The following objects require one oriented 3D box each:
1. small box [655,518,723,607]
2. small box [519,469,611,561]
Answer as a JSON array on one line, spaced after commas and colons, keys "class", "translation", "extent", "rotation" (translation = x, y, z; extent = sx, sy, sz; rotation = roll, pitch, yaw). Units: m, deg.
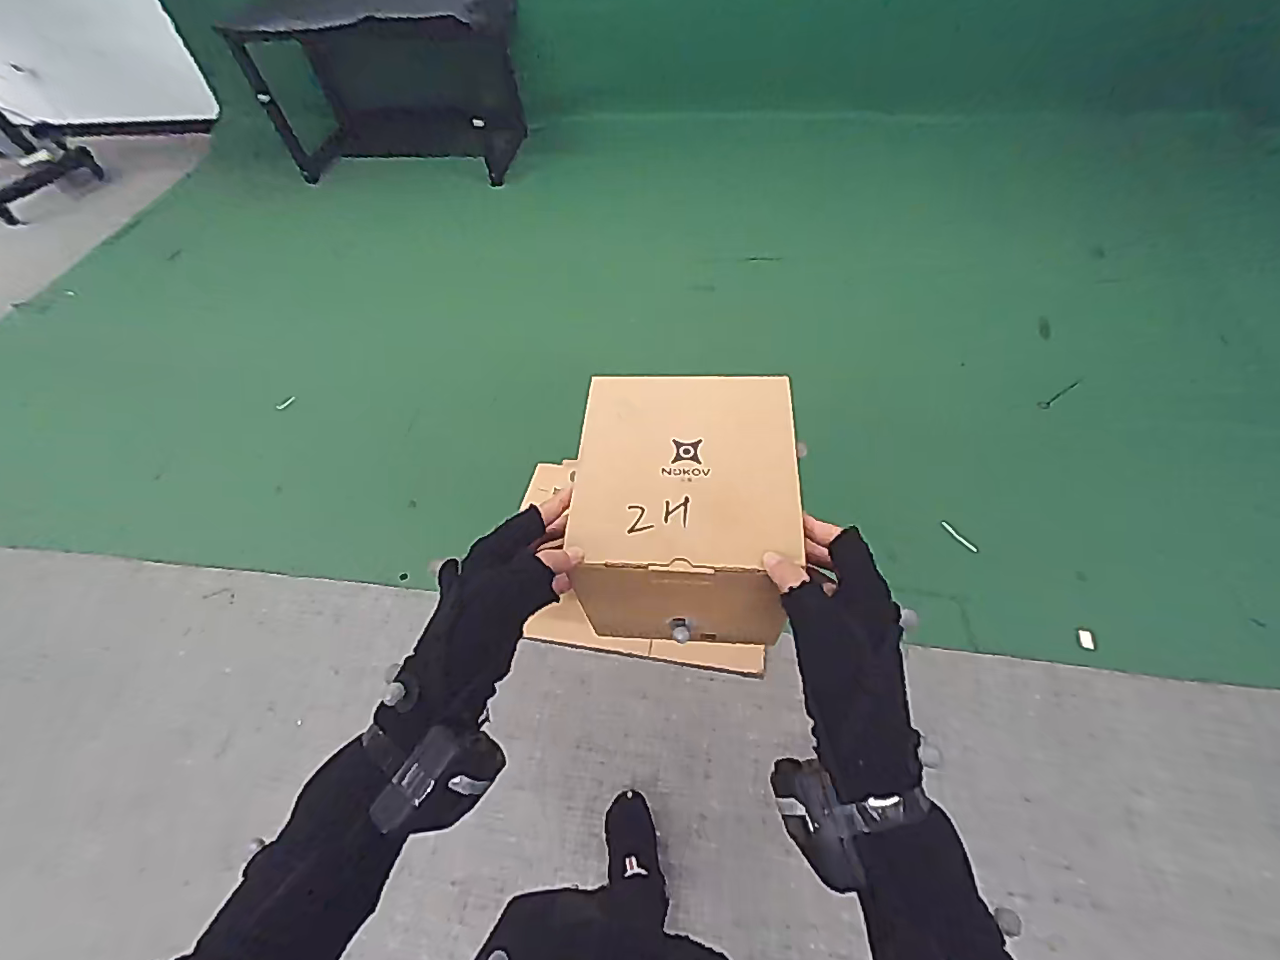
[{"class": "small box", "translation": [0.136, 0.226, 1.483], "extent": [0.168, 0.176, 0.179], "rotation": [4, 55, 9]}, {"class": "small box", "translation": [-0.183, 0.095, 1.402], "extent": [0.179, 0.176, 0.168], "rotation": [7, 55, 13]}]
